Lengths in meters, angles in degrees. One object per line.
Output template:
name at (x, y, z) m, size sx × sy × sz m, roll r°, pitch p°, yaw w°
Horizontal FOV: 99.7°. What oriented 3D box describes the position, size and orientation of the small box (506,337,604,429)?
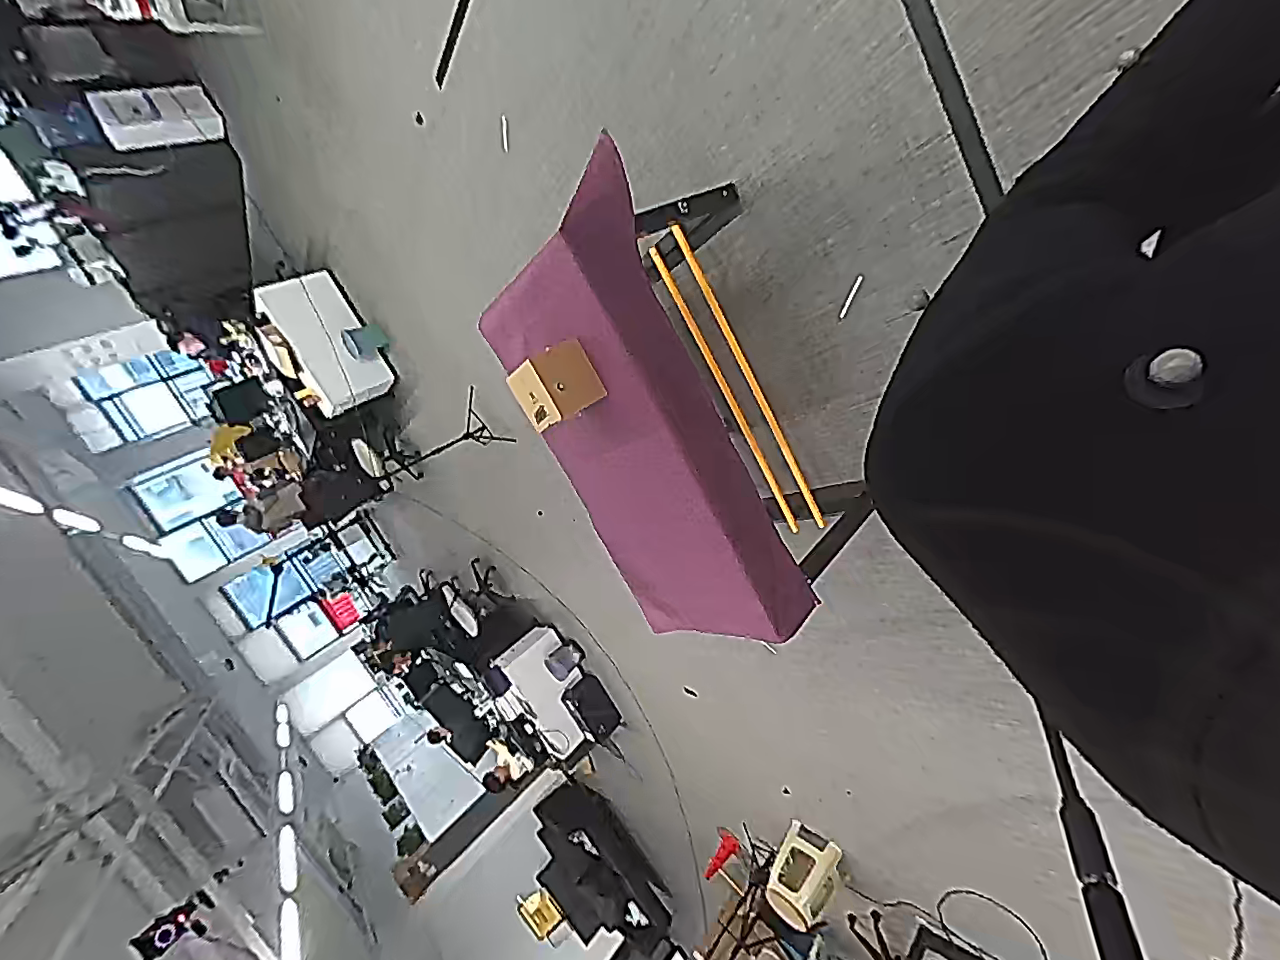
small box at (-0.229, -0.266, 1.482) m, size 0.168 × 0.176 × 0.179 m, roll -16°, pitch 106°, yaw 55°
